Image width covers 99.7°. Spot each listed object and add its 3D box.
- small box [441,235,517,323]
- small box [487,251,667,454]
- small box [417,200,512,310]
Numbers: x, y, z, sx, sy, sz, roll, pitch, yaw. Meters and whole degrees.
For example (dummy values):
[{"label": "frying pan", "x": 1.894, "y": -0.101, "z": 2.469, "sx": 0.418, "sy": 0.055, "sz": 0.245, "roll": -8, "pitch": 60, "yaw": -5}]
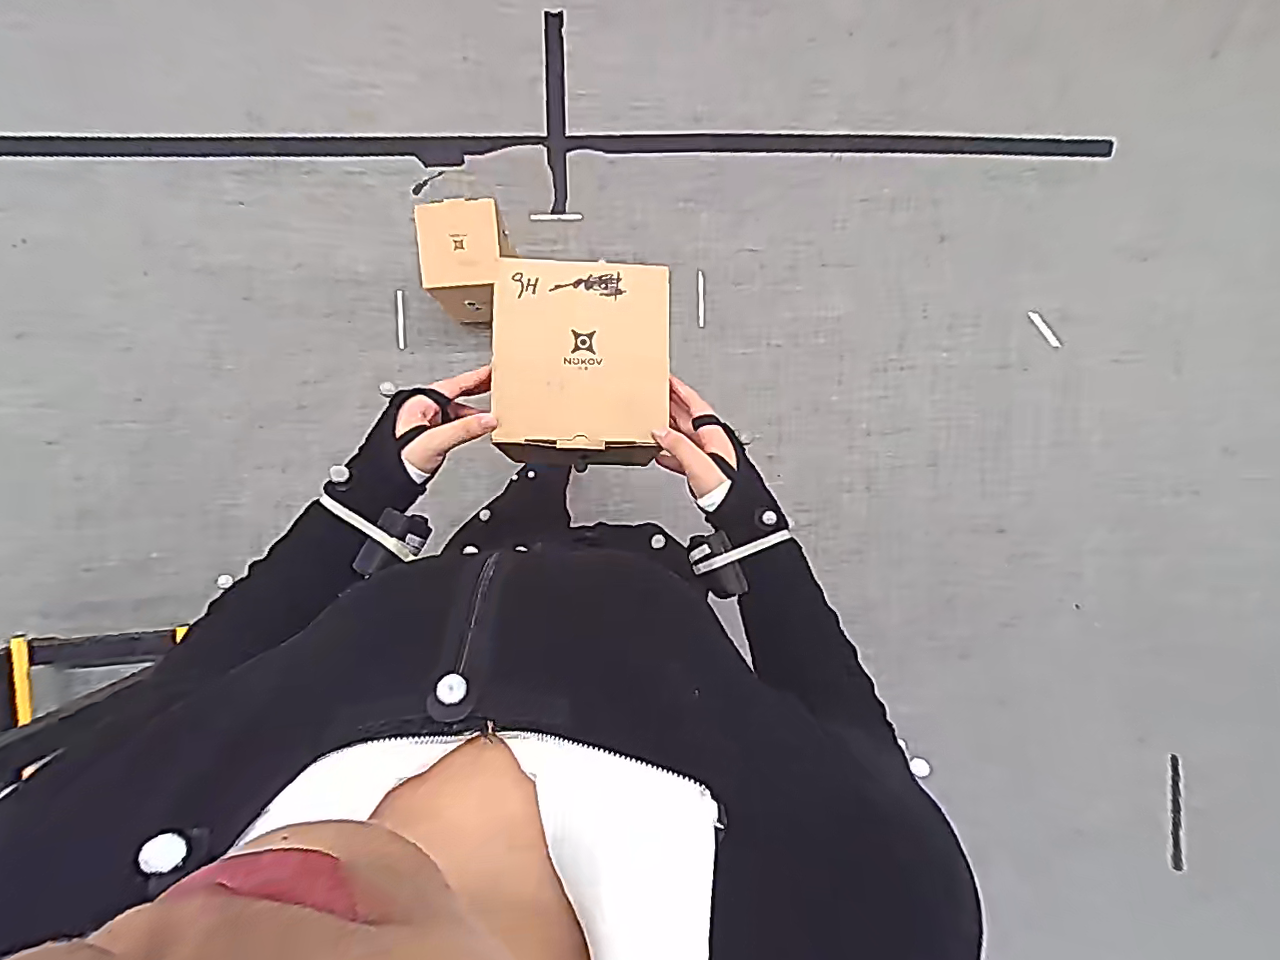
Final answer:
[{"label": "small box", "x": -0.392, "y": -0.497, "z": 1.355, "sx": 0.179, "sy": 0.176, "sz": 0.168, "roll": -4, "pitch": 93, "yaw": -5}, {"label": "small box", "x": -0.063, "y": -0.122, "z": 0.585, "sx": 0.168, "sy": 0.176, "sz": 0.179, "roll": 1, "pitch": 86, "yaw": -5}, {"label": "small box", "x": -0.375, "y": -0.489, "z": 1.194, "sx": 0.168, "sy": 0.176, "sz": 0.179, "roll": -6, "pitch": 94, "yaw": -3}]
